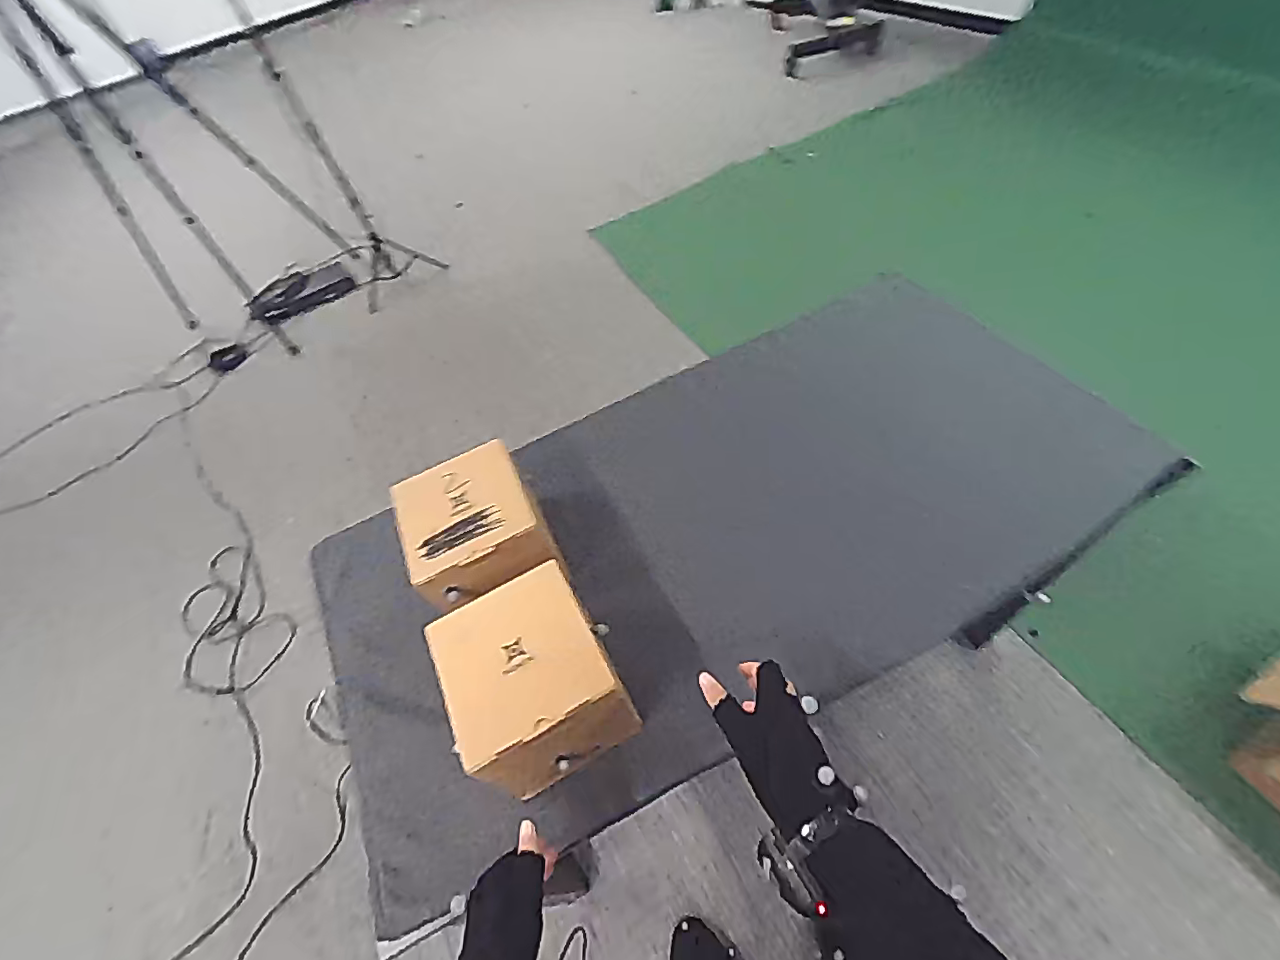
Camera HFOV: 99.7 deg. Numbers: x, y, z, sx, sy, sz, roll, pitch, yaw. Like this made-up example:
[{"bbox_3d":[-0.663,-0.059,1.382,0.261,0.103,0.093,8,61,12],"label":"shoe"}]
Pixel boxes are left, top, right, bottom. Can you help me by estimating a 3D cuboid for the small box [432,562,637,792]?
[{"bbox_3d":[-0.120,0.239,0.650,0.168,0.176,0.179,-28,52,-11],"label":"small box"}]
